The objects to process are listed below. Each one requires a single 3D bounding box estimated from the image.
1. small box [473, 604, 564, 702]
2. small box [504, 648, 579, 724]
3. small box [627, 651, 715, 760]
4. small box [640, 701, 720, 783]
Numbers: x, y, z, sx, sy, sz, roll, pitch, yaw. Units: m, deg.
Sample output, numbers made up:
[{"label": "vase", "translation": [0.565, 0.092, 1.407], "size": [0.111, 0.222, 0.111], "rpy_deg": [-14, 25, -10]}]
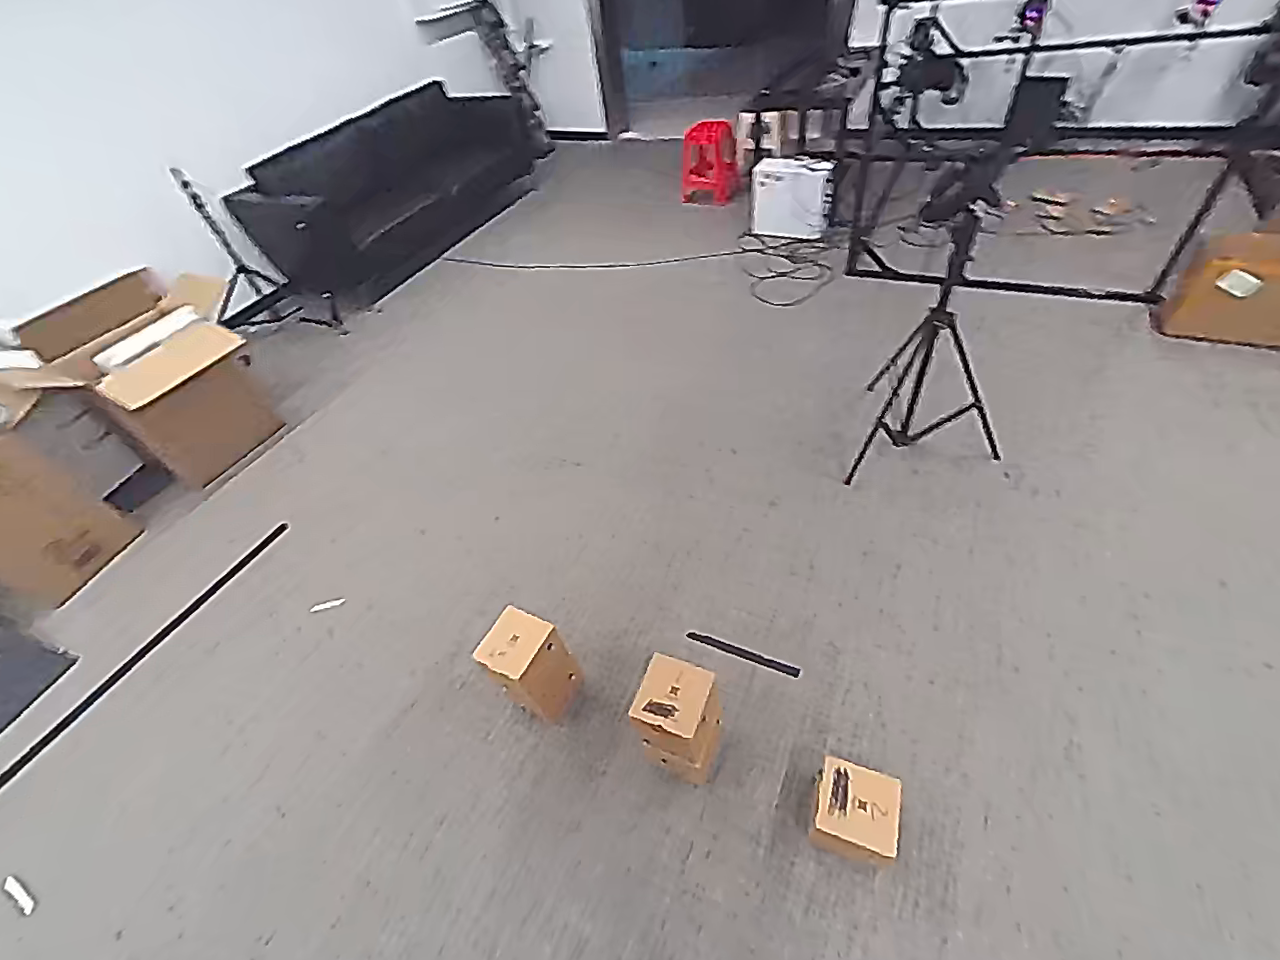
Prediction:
[{"label": "small box", "translation": [-0.331, 0.488, 1.520], "size": [0.168, 0.176, 0.179], "rpy_deg": [16, 52, 25]}, {"label": "small box", "translation": [-0.299, 0.599, 1.637], "size": [0.168, 0.176, 0.179], "rpy_deg": [17, 51, 25]}, {"label": "small box", "translation": [0.087, 0.571, 1.363], "size": [0.168, 0.176, 0.179], "rpy_deg": [13, 49, 22]}, {"label": "small box", "translation": [0.116, 0.691, 1.472], "size": [0.168, 0.176, 0.179], "rpy_deg": [13, 49, 22]}]
